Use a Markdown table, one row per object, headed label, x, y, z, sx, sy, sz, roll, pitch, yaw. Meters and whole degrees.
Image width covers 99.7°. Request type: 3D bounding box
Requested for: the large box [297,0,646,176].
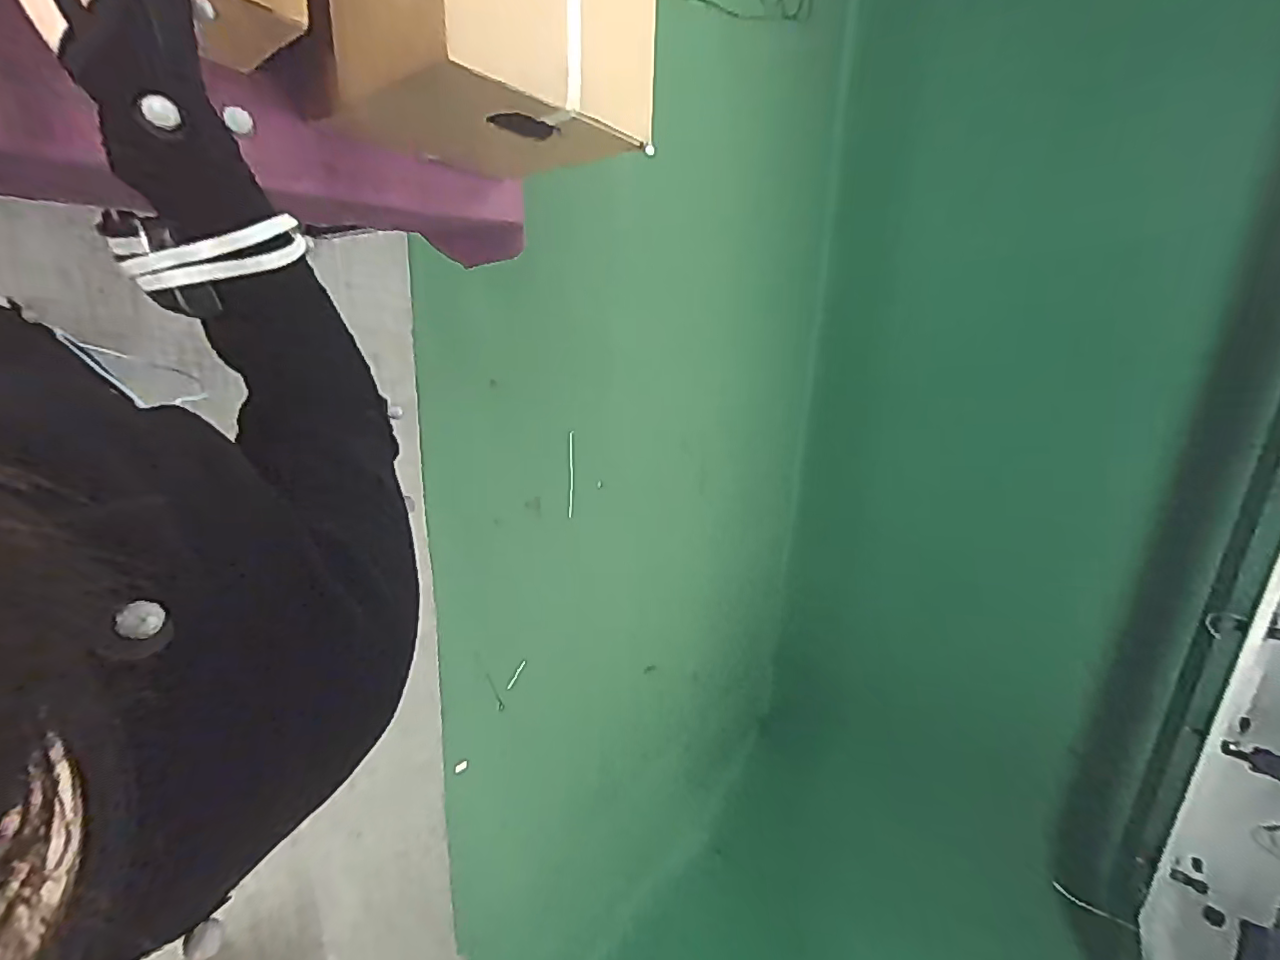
| label | x | y | z | sx | sy | sz | roll | pitch | yaw |
| --- | --- | --- | --- | --- | --- | --- | --- | --- | --- |
| large box | -0.202 | -0.641 | 0.659 | 0.320 | 0.320 | 0.408 | -18 | 116 | -50 |
